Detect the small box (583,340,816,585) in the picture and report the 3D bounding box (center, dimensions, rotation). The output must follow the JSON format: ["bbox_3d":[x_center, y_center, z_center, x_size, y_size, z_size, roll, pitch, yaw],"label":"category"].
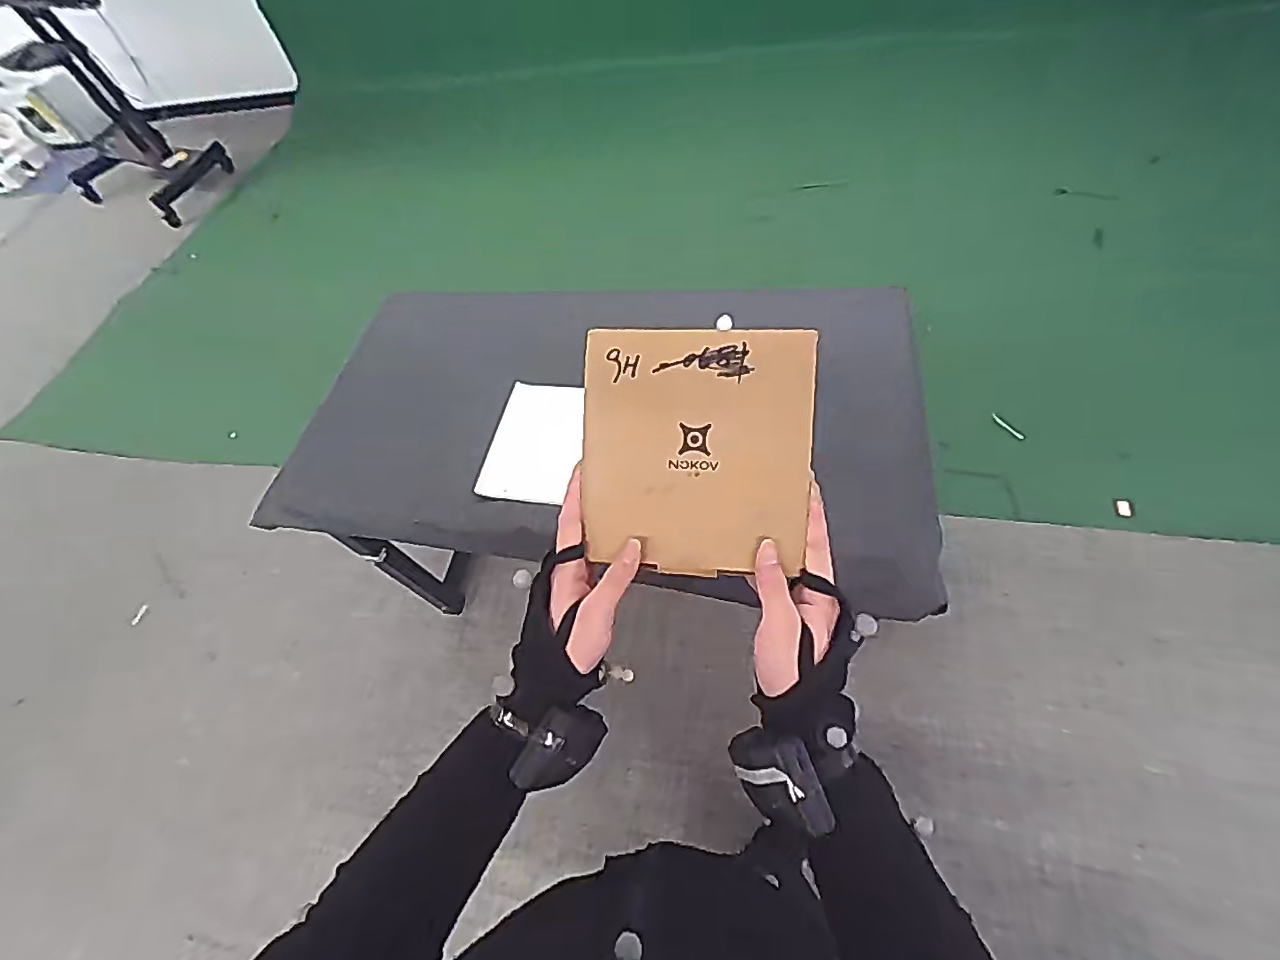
[{"bbox_3d":[0.053,-0.020,0.475,0.168,0.176,0.179,3,94,9],"label":"small box"}]
